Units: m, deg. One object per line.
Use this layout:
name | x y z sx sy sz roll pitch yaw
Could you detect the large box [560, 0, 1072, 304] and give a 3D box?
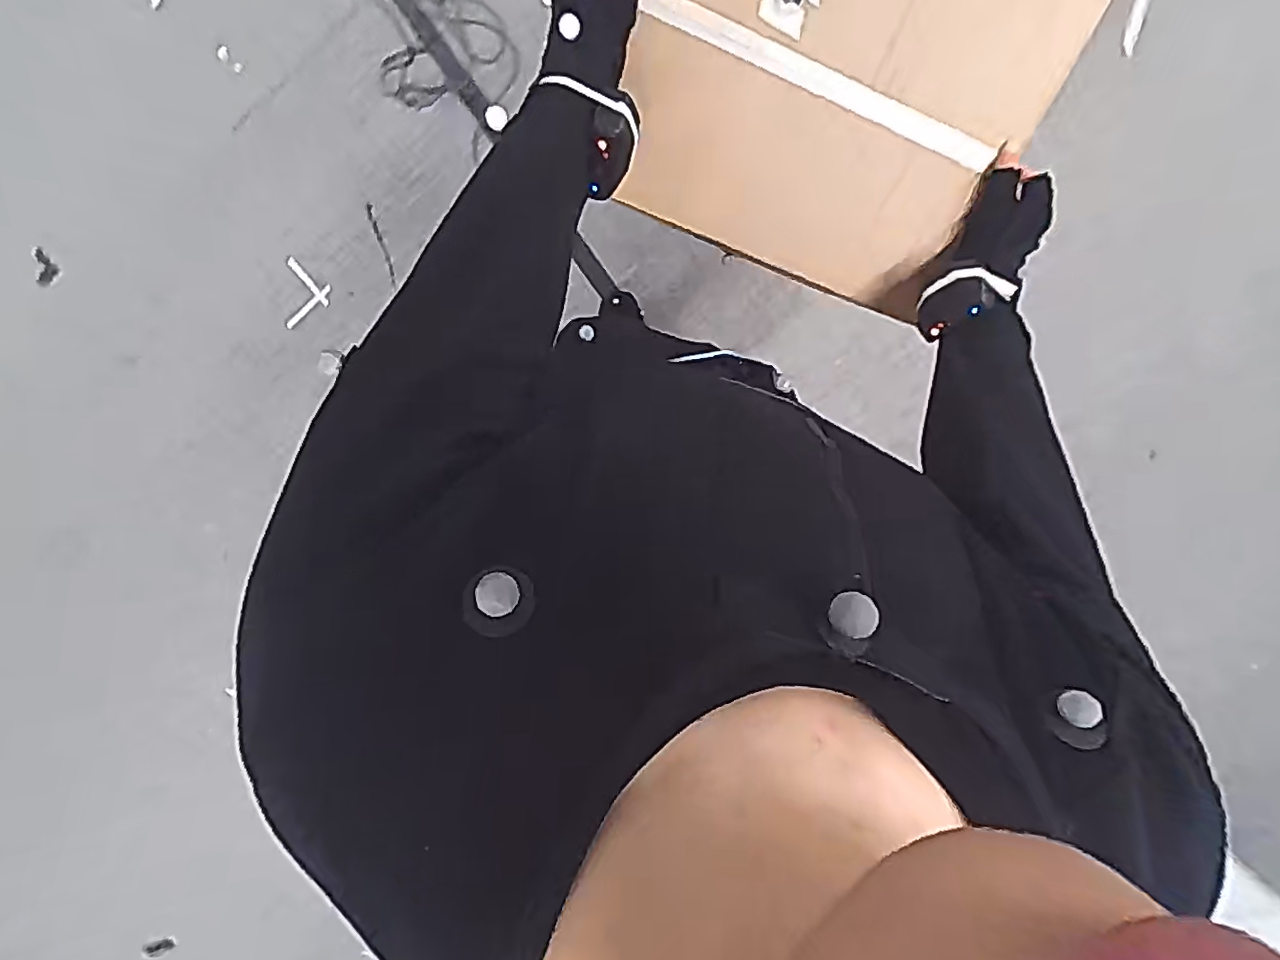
large box | 0.159 -0.443 0.639 0.408 0.320 0.320 19 114 -8
